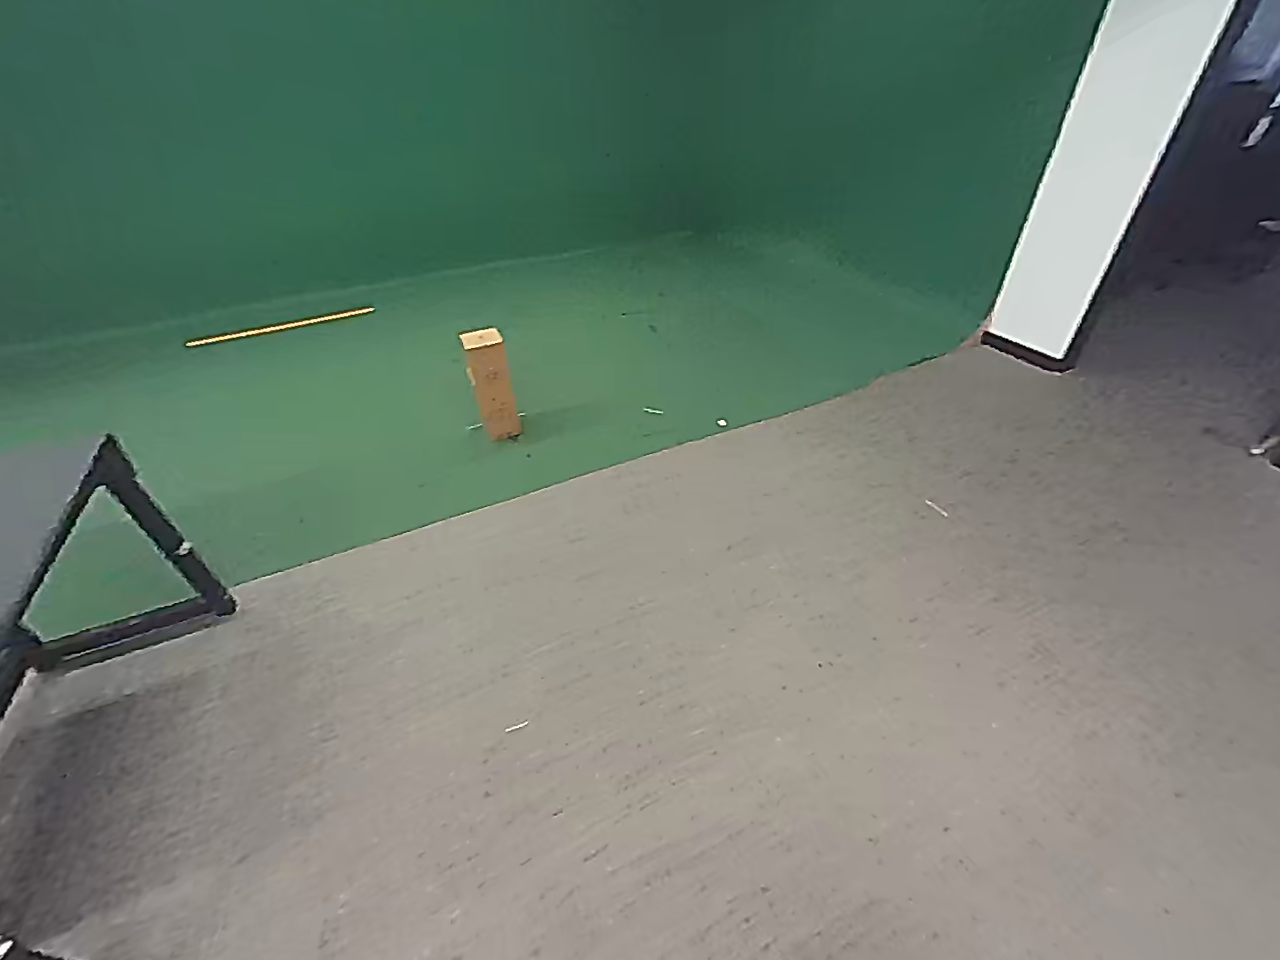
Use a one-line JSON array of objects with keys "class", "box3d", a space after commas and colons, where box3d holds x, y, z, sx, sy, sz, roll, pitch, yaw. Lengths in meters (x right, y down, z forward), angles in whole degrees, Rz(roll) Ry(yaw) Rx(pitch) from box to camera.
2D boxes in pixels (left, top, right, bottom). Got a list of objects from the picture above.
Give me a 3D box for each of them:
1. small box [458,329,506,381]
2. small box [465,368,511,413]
[{"class": "small box", "box3d": [-0.731, -0.580, 2.506, 0.168, 0.176, 0.179, -17, 41, -18]}, {"class": "small box", "box3d": [-0.731, -0.445, 2.602, 0.168, 0.176, 0.179, -17, 41, -19]}]
